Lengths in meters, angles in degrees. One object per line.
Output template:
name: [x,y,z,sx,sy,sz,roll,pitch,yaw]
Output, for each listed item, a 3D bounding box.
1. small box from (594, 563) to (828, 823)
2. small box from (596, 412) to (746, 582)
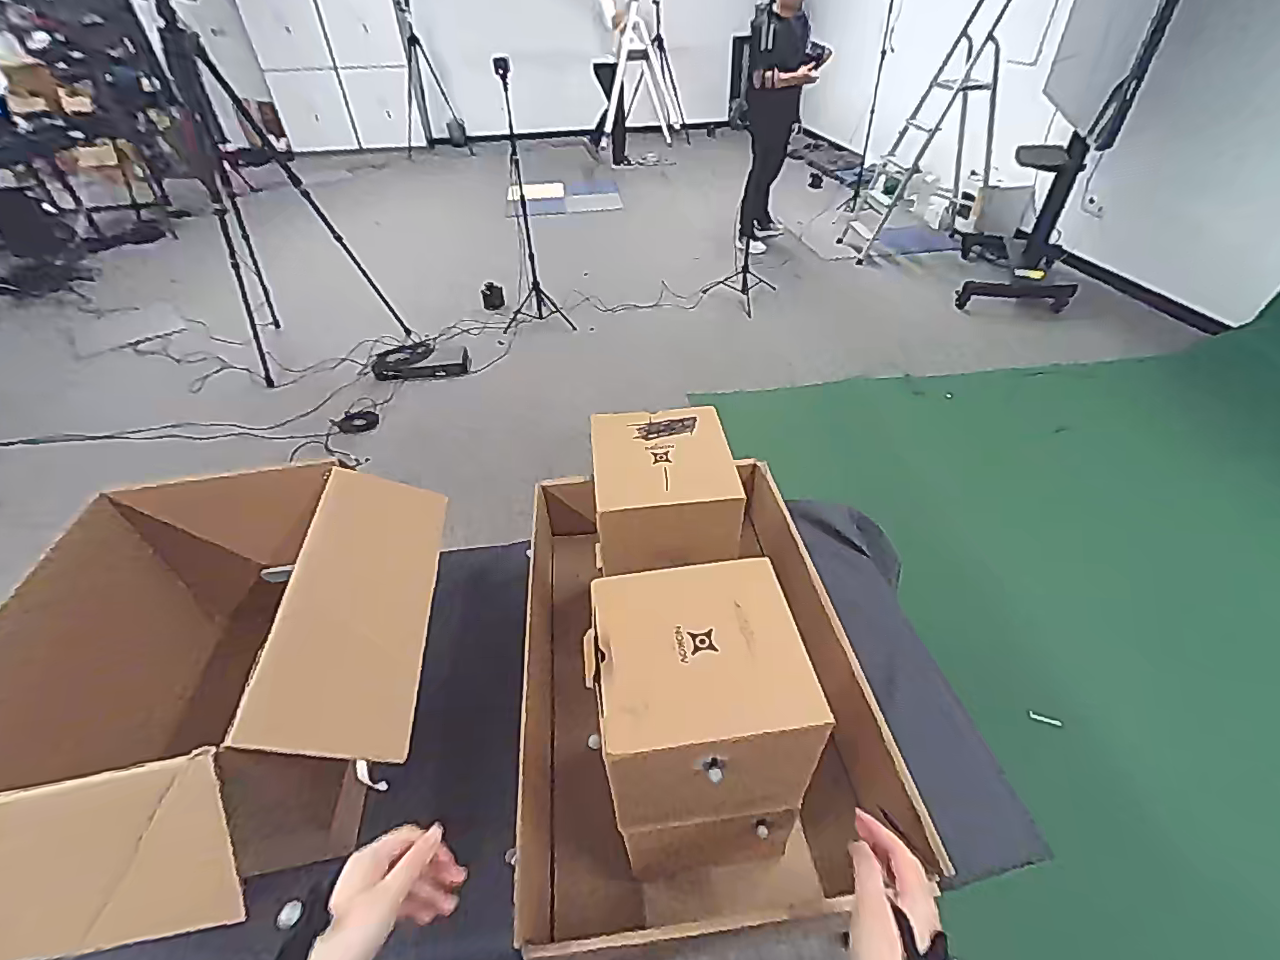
small box: [0.054,0.204,0.518,0.179,0.176,0.168,-6,42,-5]
small box: [0.030,0.032,0.706,0.168,0.176,0.179,-5,44,-3]
